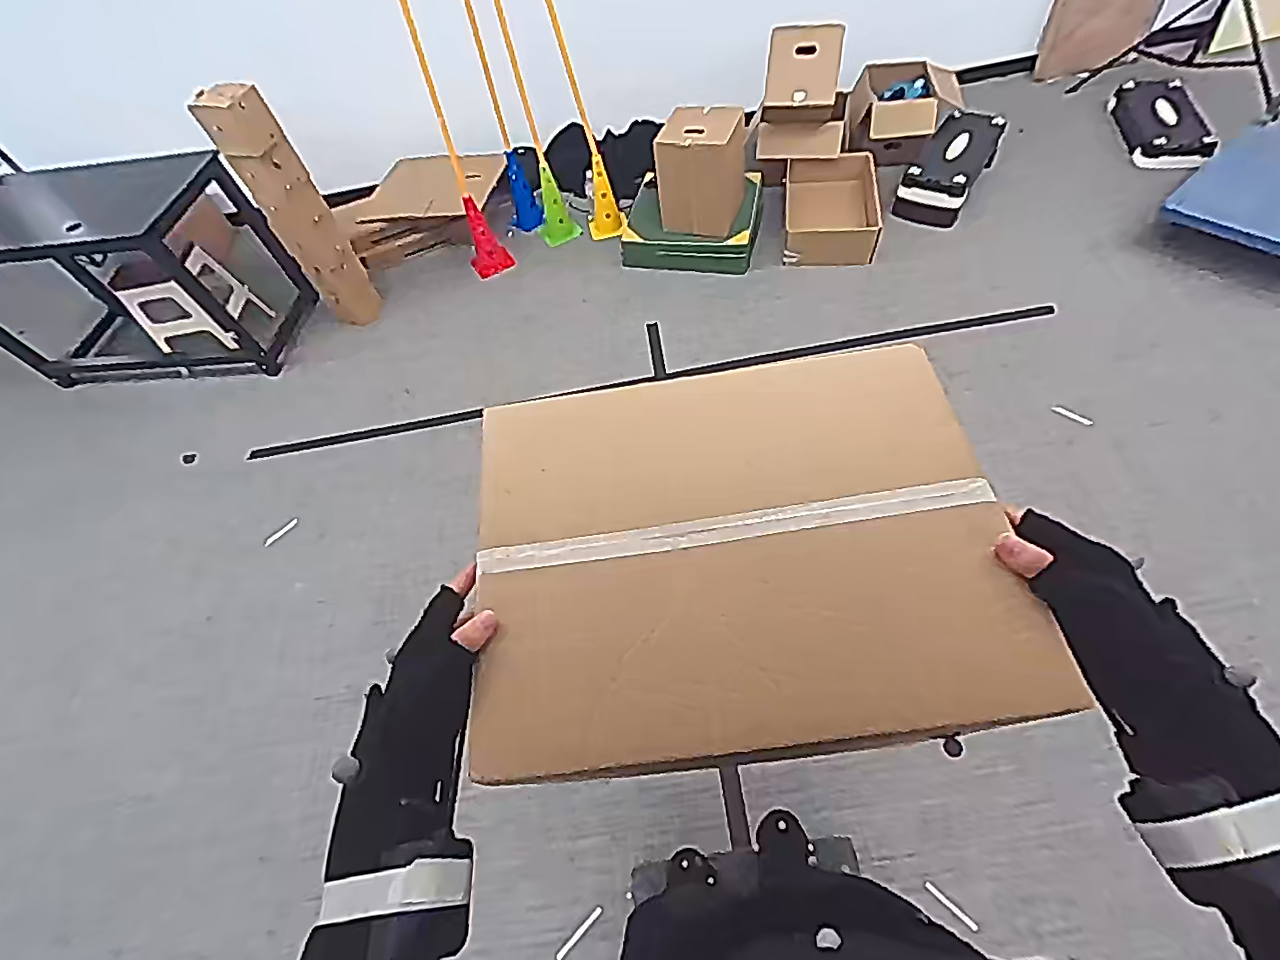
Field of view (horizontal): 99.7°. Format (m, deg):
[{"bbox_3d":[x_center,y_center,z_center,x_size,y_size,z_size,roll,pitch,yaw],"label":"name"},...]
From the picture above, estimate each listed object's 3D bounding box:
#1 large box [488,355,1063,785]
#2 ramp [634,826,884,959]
[{"bbox_3d":[0.090,0.116,0.569,0.408,0.320,0.320,-9,60,3],"label":"large box"},{"bbox_3d":[0.295,1.252,1.007,0.509,0.206,0.991,-10,57,1],"label":"ramp"}]
